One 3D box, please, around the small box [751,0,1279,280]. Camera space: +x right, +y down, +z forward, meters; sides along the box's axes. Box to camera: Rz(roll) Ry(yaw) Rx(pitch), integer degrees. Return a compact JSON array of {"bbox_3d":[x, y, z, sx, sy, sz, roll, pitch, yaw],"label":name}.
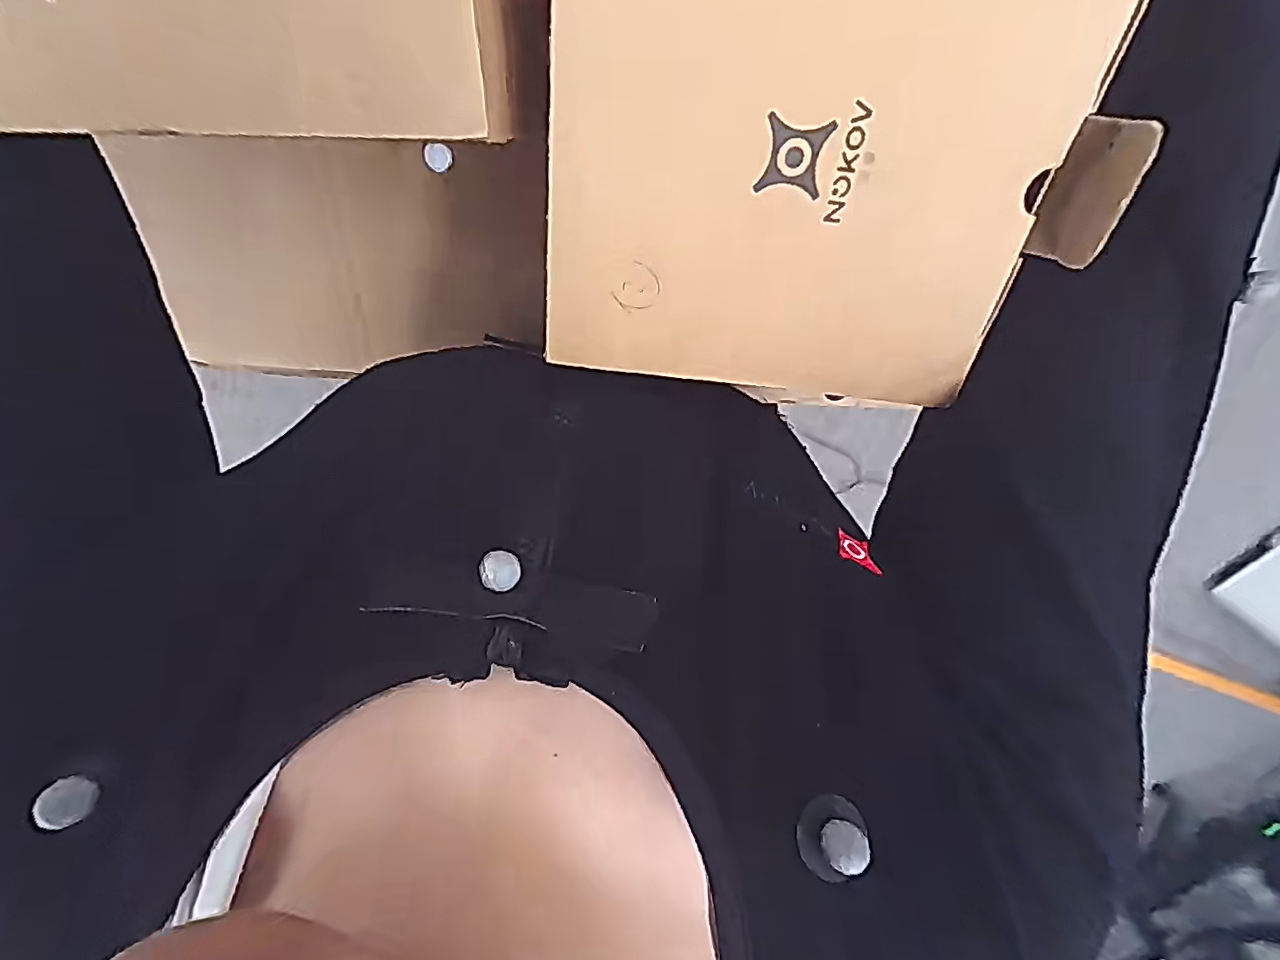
[{"bbox_3d":[0.161,-0.201,0.199,0.179,0.176,0.168,16,130,-11],"label":"small box"}]
